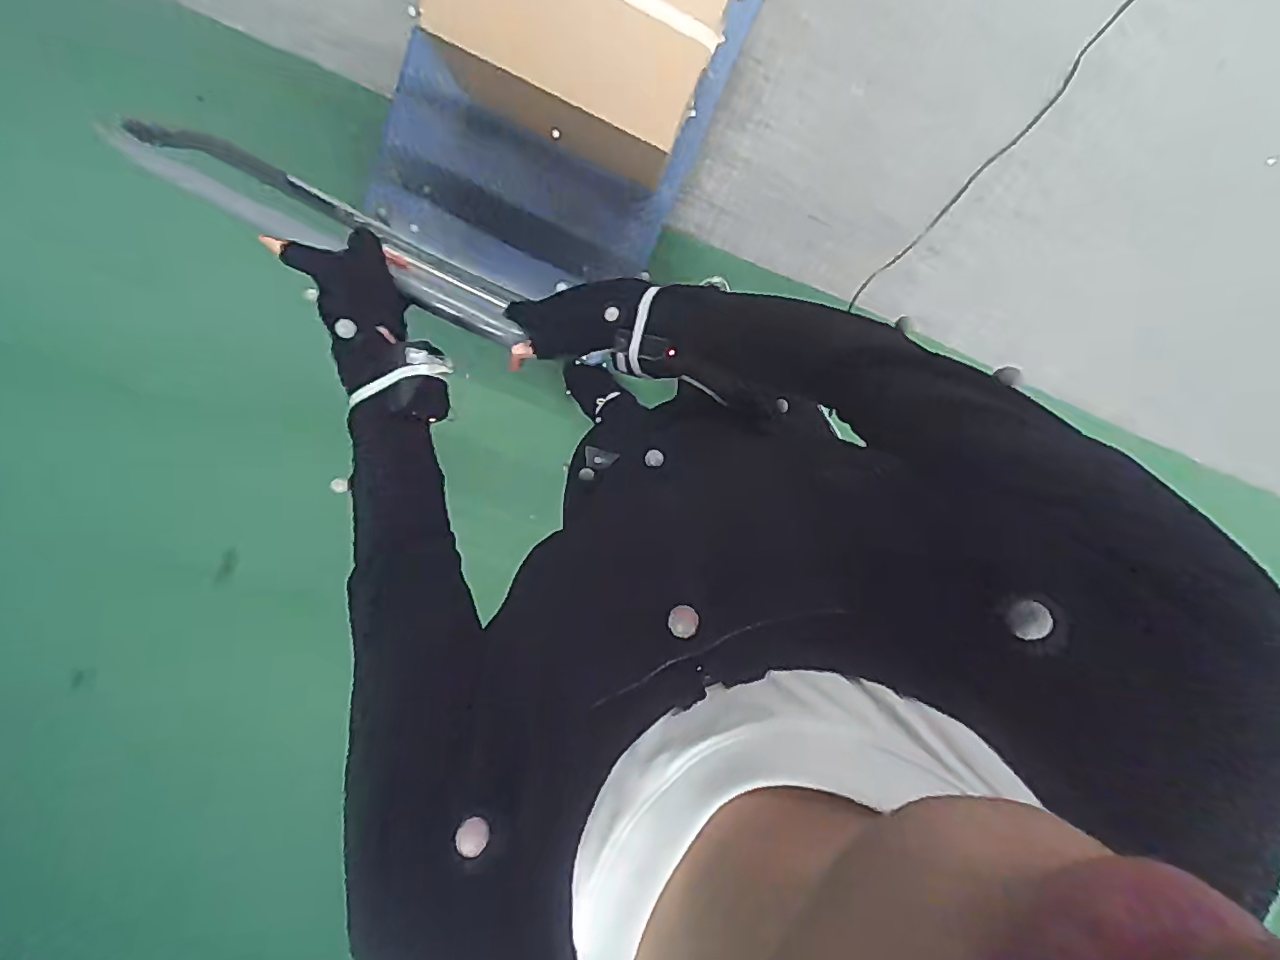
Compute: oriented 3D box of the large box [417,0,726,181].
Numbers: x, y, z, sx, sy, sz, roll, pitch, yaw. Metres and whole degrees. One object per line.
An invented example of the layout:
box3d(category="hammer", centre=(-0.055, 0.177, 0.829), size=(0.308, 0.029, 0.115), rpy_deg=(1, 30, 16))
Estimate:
box3d(category="large box", centre=(-0.085, -0.770, 0.909), size=(0.408, 0.320, 0.320), rpy_deg=(23, 105, -8))
